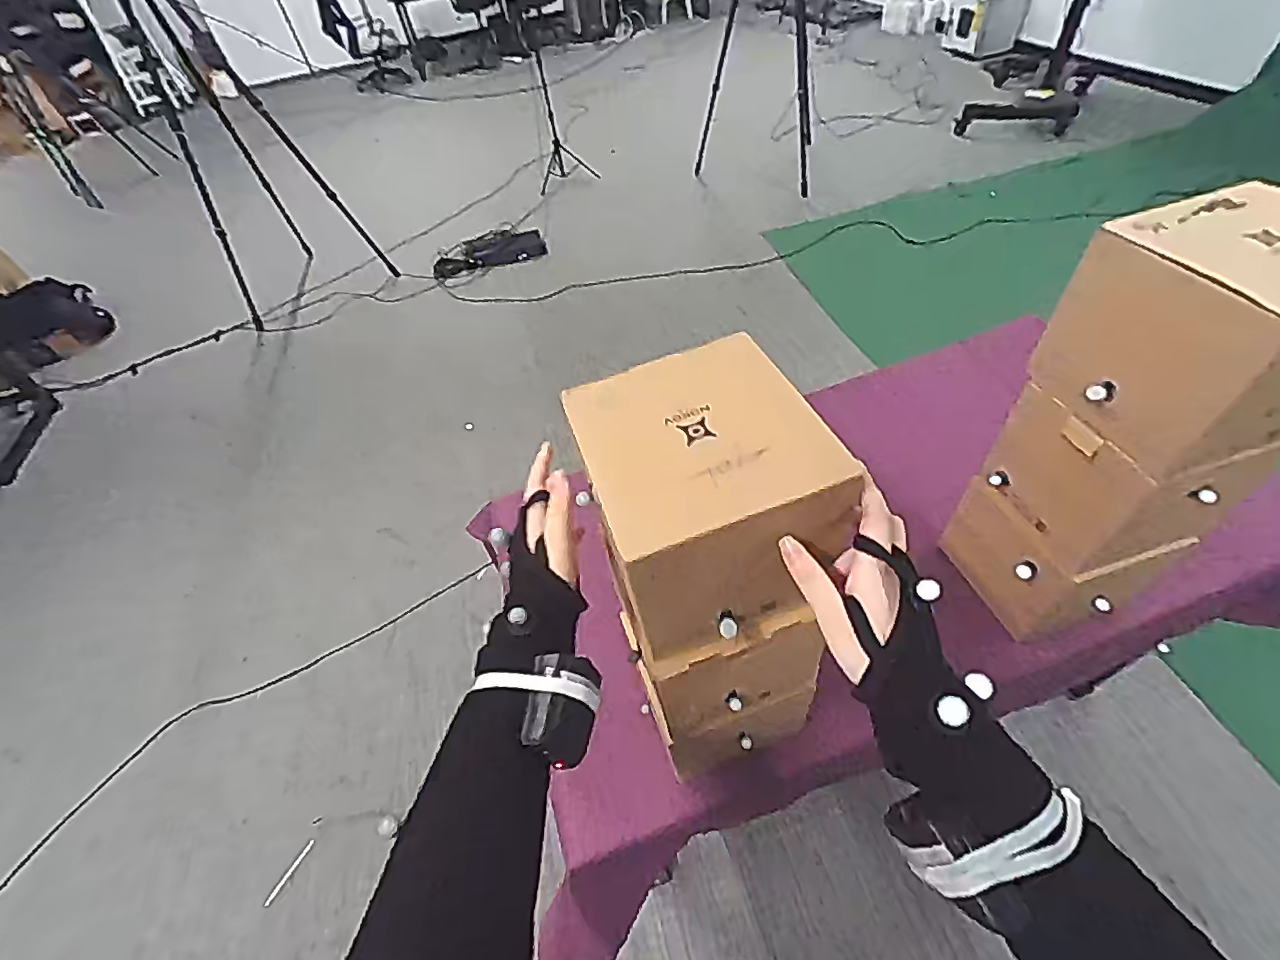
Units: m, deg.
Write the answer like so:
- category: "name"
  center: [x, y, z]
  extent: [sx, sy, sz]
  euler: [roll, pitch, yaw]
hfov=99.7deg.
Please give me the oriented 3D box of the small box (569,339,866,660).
- category: "small box"
  center: [0.053, 0.018, 0.450]
  extent: [0.168, 0.176, 0.179]
  euler: [-19, 50, -6]

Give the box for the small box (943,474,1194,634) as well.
- category: "small box"
  center: [0.559, 0.090, 0.738]
  extent: [0.168, 0.176, 0.179]
  euler: [-16, 49, -5]

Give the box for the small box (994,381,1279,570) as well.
- category: "small box"
  center: [0.545, -0.020, 0.617]
  extent: [0.179, 0.176, 0.168]
  euler: [-16, 50, -5]

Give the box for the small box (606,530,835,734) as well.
- category: "small box"
  center: [0.074, 0.132, 0.565]
  extent: [0.168, 0.176, 0.179]
  euler: [-19, 50, -7]

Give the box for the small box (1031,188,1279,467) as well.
- category: "small box"
  center: [0.521, -0.131, 0.497]
  extent: [0.168, 0.176, 0.179]
  euler: [-16, 50, -5]
